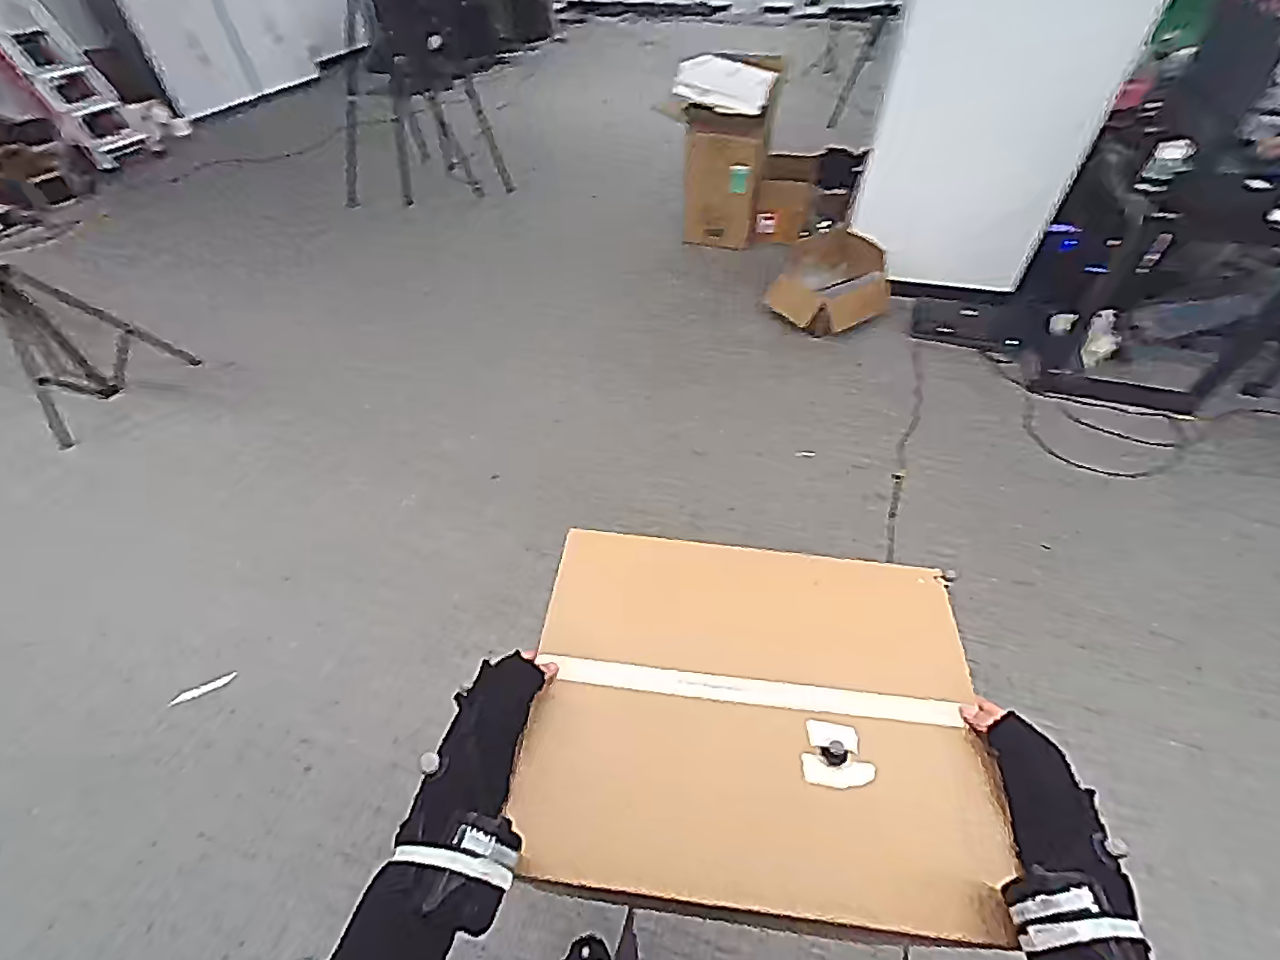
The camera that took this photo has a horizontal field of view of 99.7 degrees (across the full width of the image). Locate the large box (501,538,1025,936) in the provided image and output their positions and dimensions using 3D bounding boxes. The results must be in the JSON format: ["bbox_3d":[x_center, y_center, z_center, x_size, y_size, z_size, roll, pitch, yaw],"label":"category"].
[{"bbox_3d":[0.096,0.293,0.612,0.408,0.320,0.320,6,50,3],"label":"large box"}]
